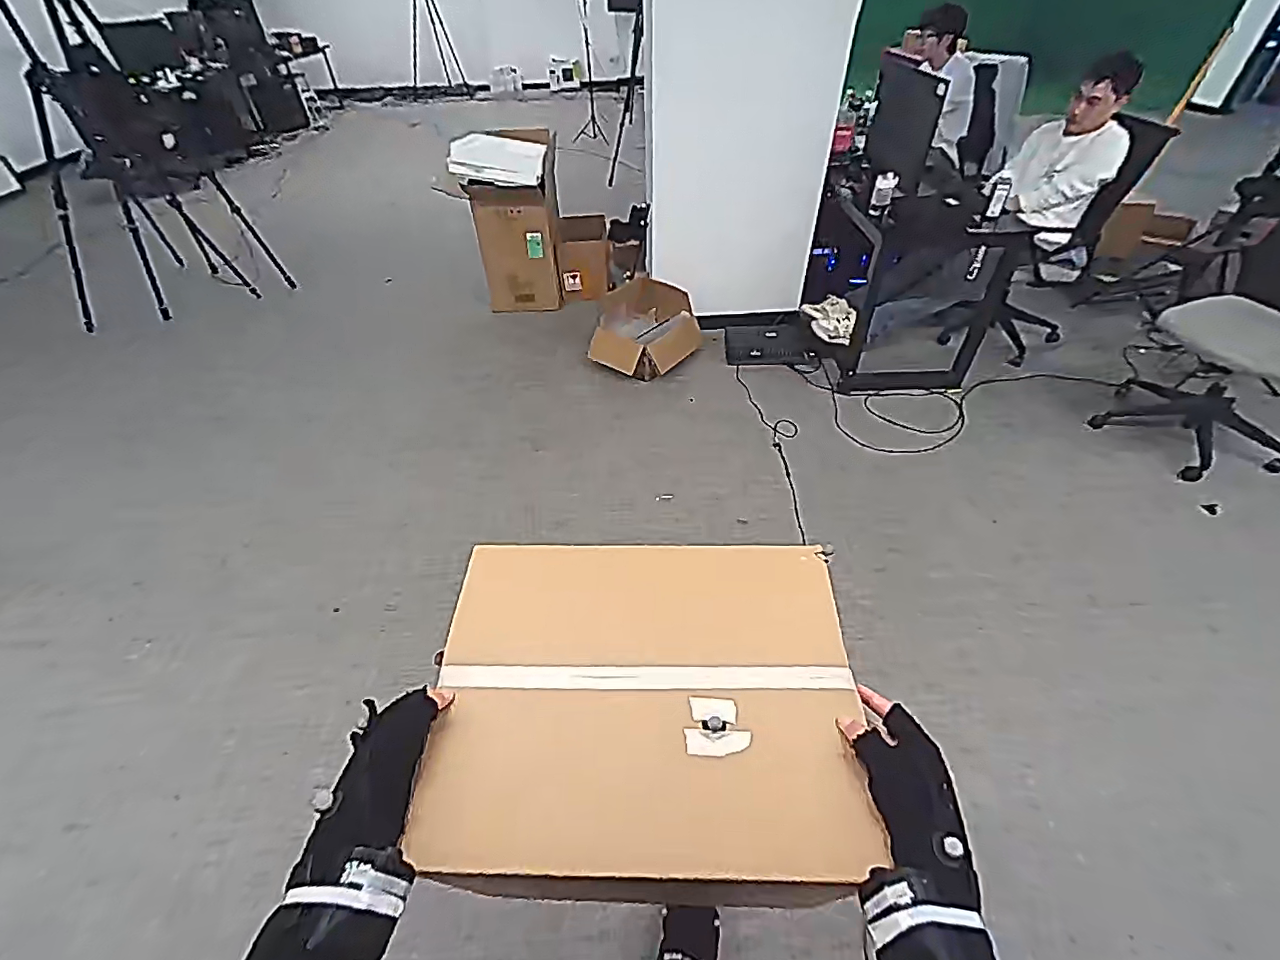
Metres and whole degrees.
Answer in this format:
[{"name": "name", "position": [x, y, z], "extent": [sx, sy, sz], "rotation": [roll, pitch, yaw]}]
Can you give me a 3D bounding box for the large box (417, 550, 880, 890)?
[{"name": "large box", "position": [0.009, 0.298, 0.664], "extent": [0.408, 0.320, 0.320], "rotation": [0, 50, 2]}]
